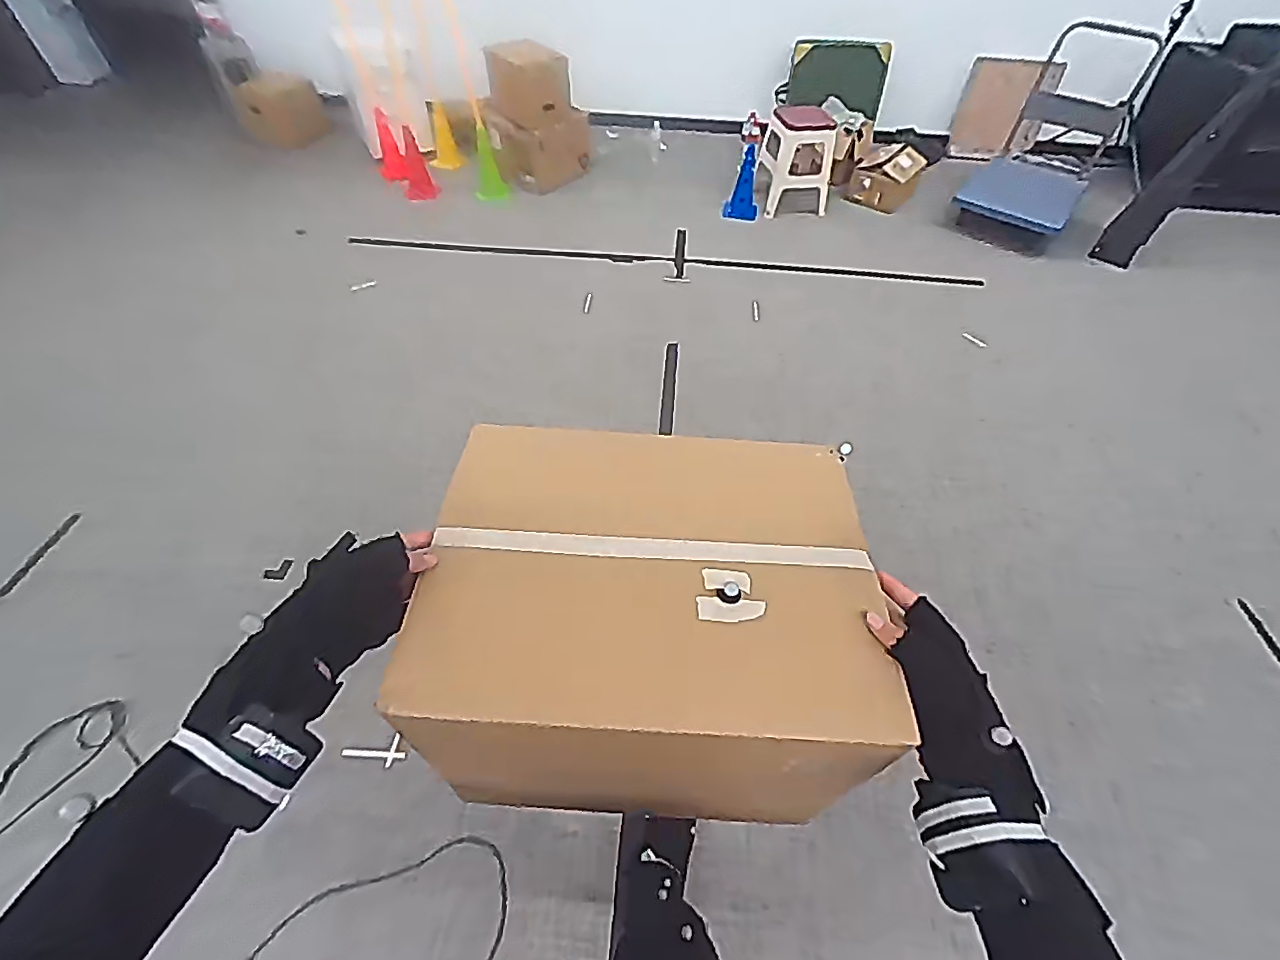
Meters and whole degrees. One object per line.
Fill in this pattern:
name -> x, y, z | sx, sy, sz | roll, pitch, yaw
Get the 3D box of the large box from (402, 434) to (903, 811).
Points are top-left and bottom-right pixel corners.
large box -> 0.007, 0.170, 0.629 | 0.408, 0.320, 0.320 | 4, 49, 0
